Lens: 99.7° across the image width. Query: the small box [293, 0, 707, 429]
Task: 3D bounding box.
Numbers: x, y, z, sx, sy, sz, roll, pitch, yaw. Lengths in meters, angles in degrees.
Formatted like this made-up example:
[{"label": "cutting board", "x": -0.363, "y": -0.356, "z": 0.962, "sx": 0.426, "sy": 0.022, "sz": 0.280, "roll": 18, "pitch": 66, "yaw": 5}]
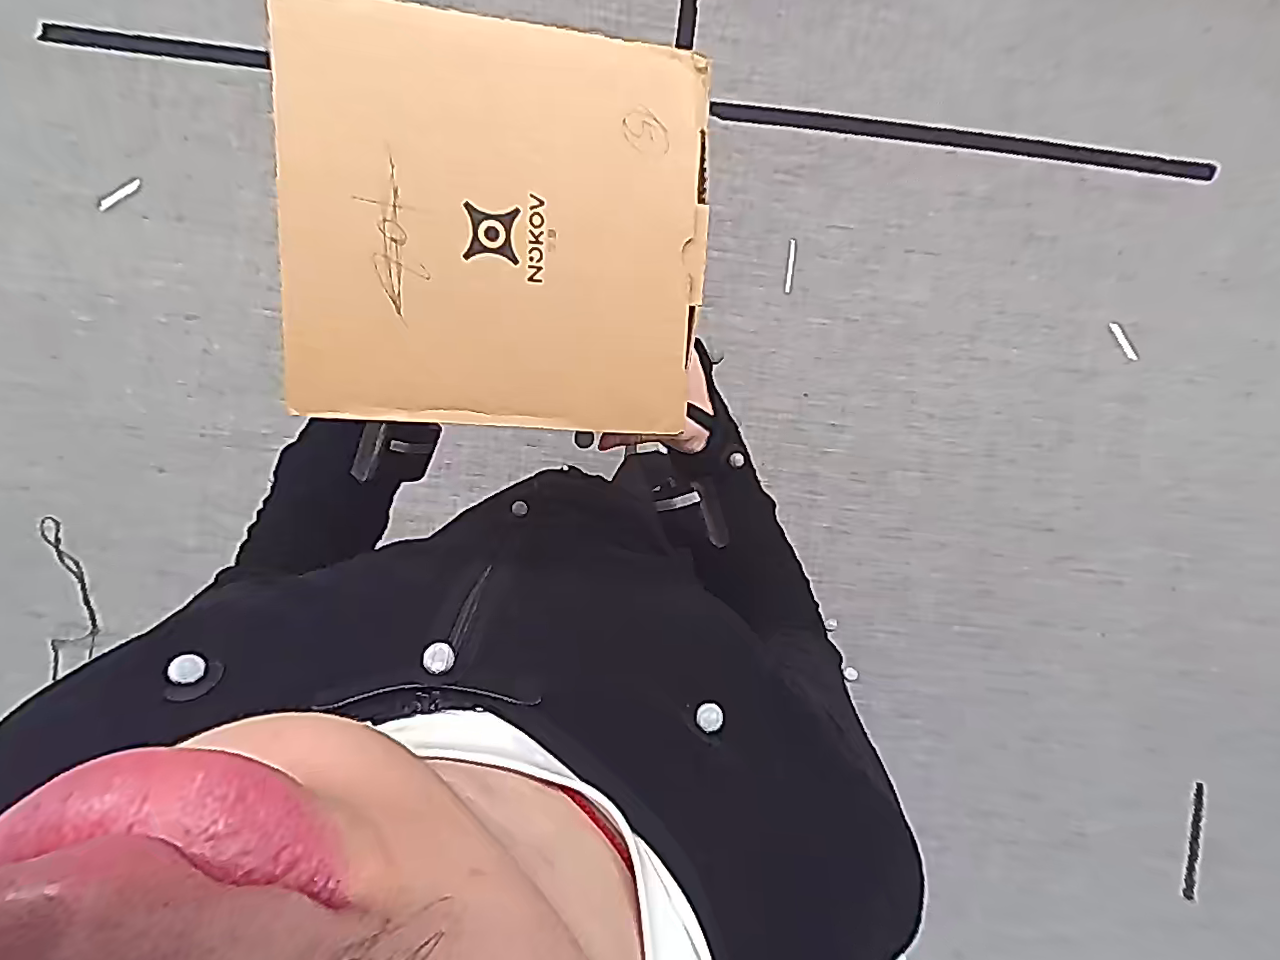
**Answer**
[{"label": "small box", "x": -0.073, "y": -0.123, "z": 0.322, "sx": 0.179, "sy": 0.176, "sz": 0.168, "roll": 2, "pitch": 99, "yaw": -9}]
